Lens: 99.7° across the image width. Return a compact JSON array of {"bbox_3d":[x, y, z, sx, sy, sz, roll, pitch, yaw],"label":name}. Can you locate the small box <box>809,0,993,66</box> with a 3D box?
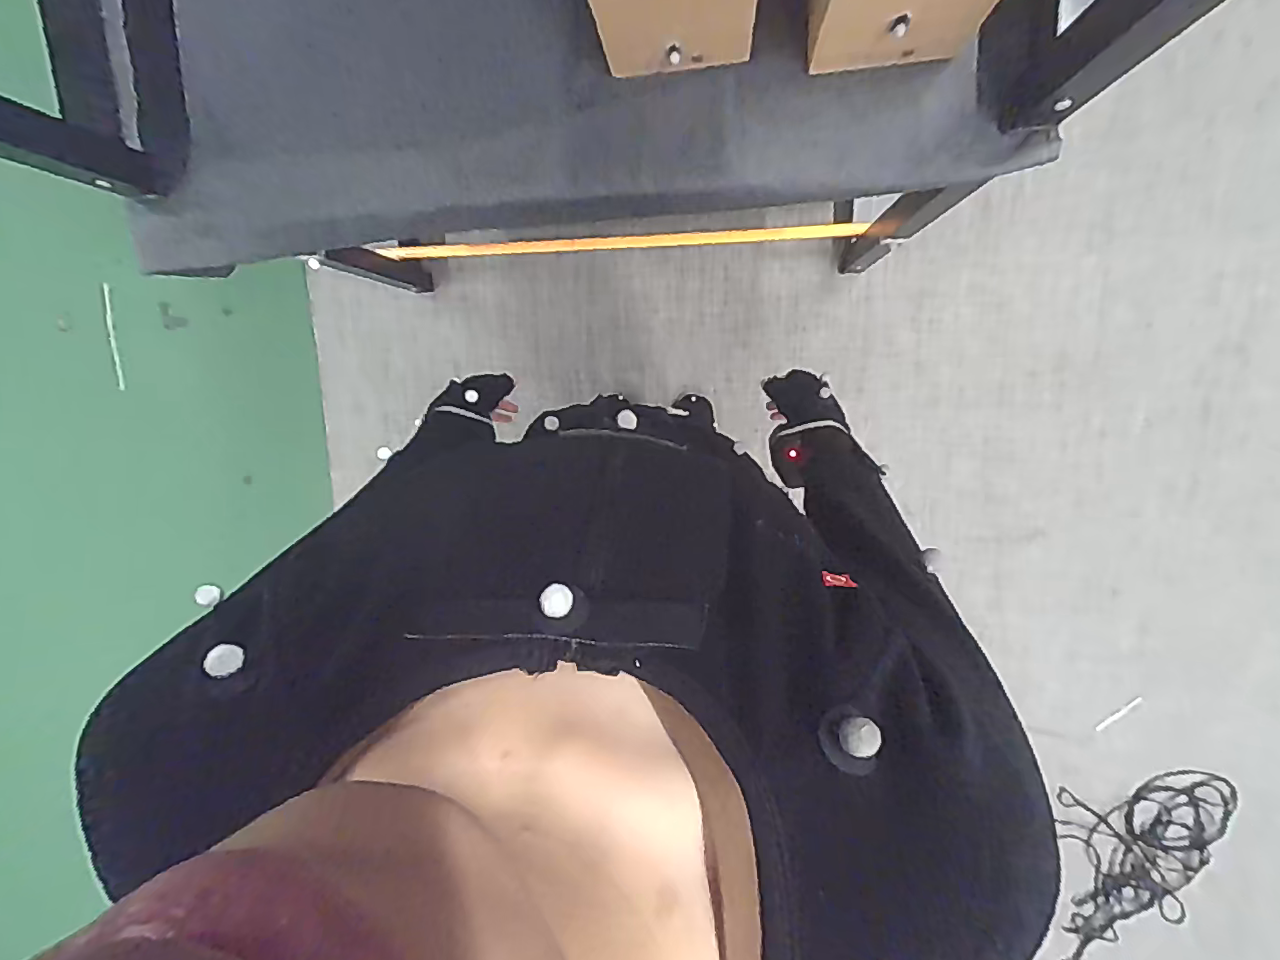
[{"bbox_3d":[0.266,-0.544,0.529,0.168,0.176,0.179,-1,99,7],"label":"small box"}]
